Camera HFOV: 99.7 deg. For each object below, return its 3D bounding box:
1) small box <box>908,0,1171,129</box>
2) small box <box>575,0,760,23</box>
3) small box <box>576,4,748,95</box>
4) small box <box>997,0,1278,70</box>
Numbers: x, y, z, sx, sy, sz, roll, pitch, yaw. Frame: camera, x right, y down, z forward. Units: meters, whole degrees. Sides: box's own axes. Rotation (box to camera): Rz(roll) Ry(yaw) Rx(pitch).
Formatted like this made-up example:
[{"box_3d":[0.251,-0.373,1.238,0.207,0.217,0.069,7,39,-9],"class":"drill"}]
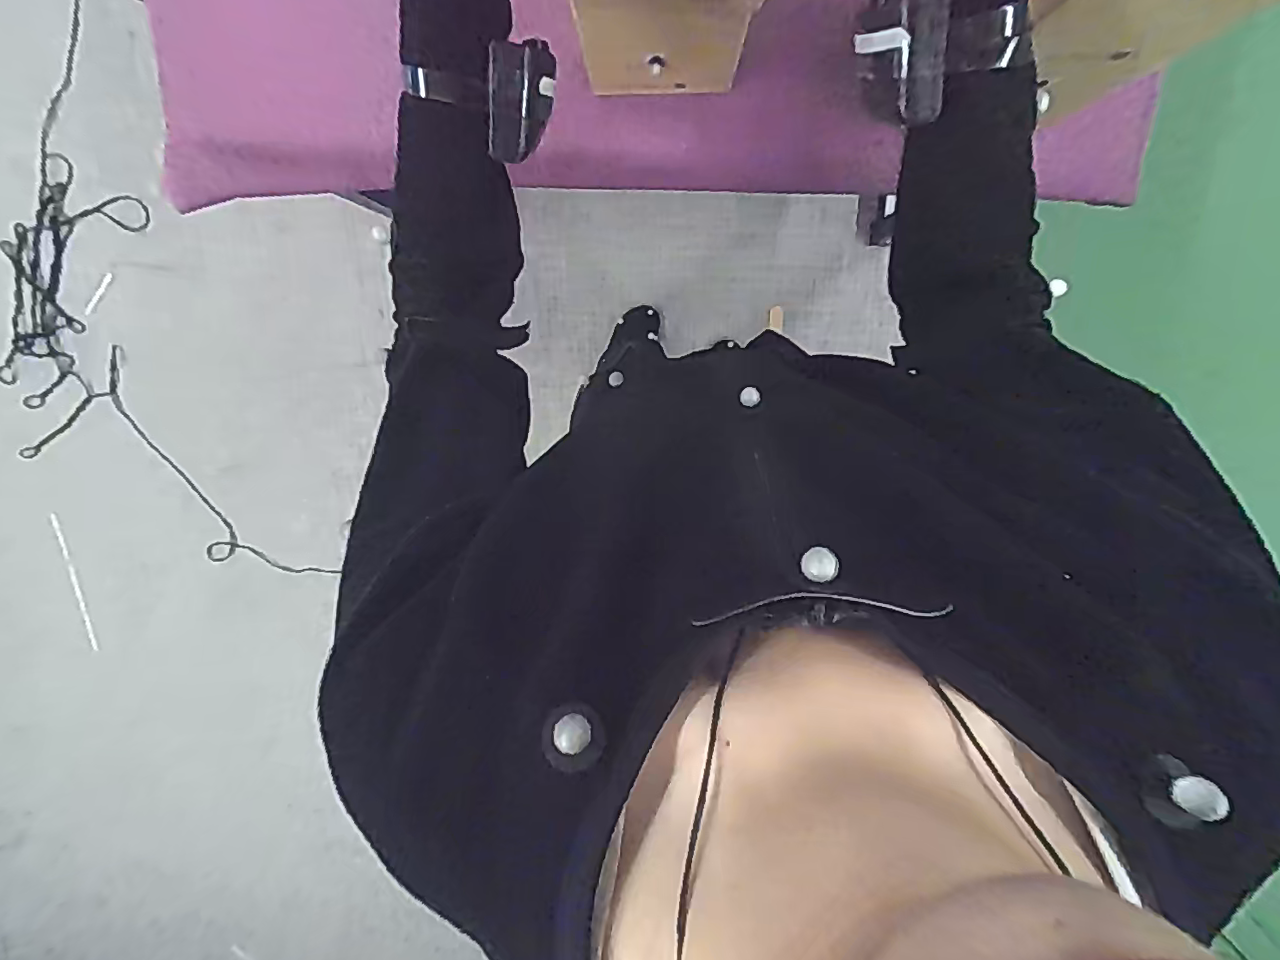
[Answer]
[{"box_3d":[0.404,-0.481,0.553,0.179,0.176,0.168,0,106,5],"class":"small box"},{"box_3d":[0.021,-0.485,0.407,0.179,0.176,0.168,0,105,3],"class":"small box"},{"box_3d":[0.027,-0.530,0.563,0.168,0.176,0.179,1,103,3],"class":"small box"},{"box_3d":[0.396,-0.441,0.393,0.168,0.176,0.179,1,104,5],"class":"small box"}]
